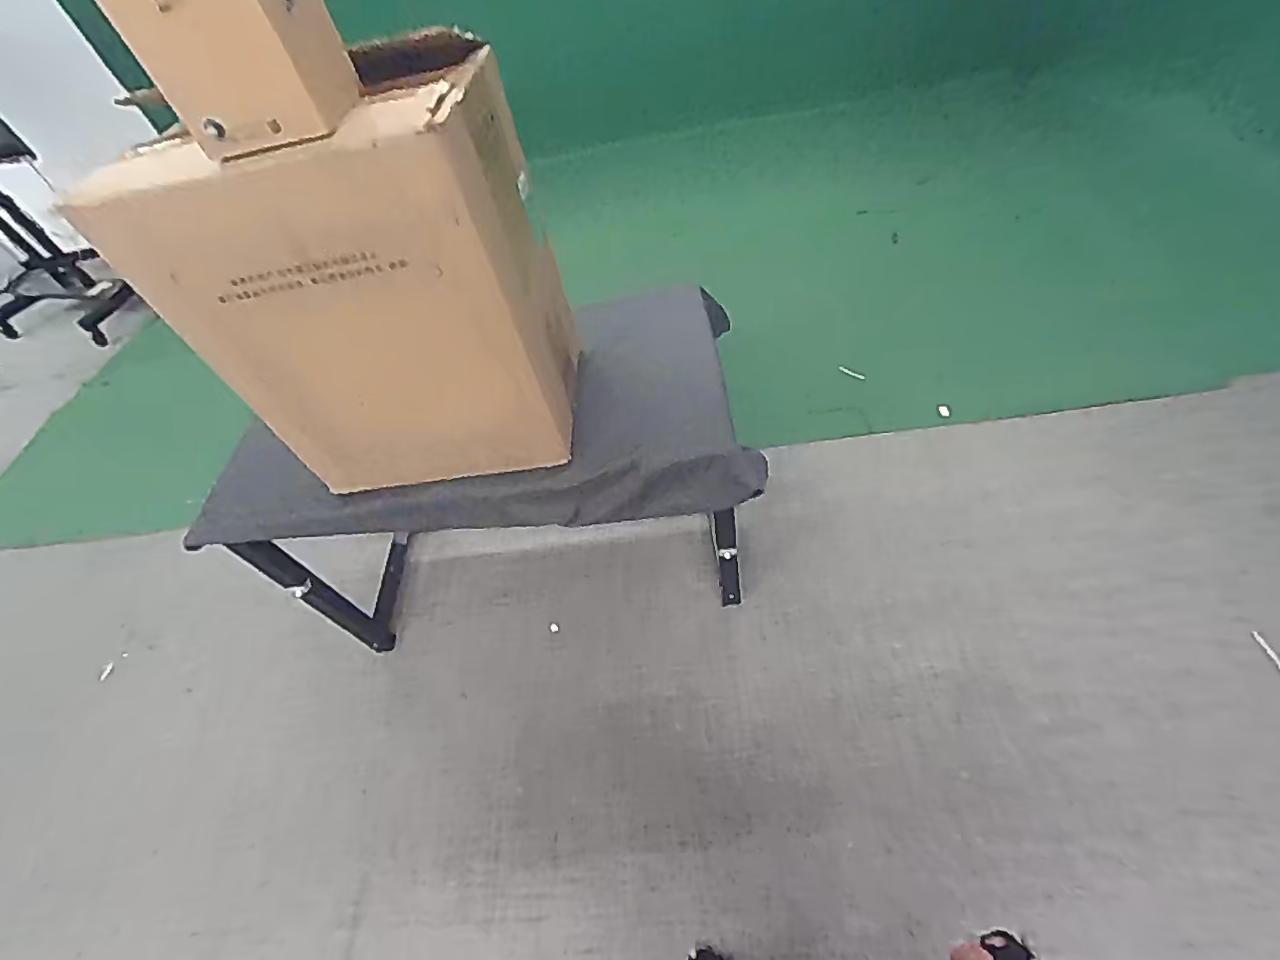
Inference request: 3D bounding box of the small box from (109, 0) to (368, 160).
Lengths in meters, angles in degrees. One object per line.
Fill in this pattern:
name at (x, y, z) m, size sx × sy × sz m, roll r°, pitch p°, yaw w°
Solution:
small box at (-0.475, -0.527, 0.679) m, size 0.168 × 0.176 × 0.179 m, roll -9°, pitch 50°, yaw 5°
